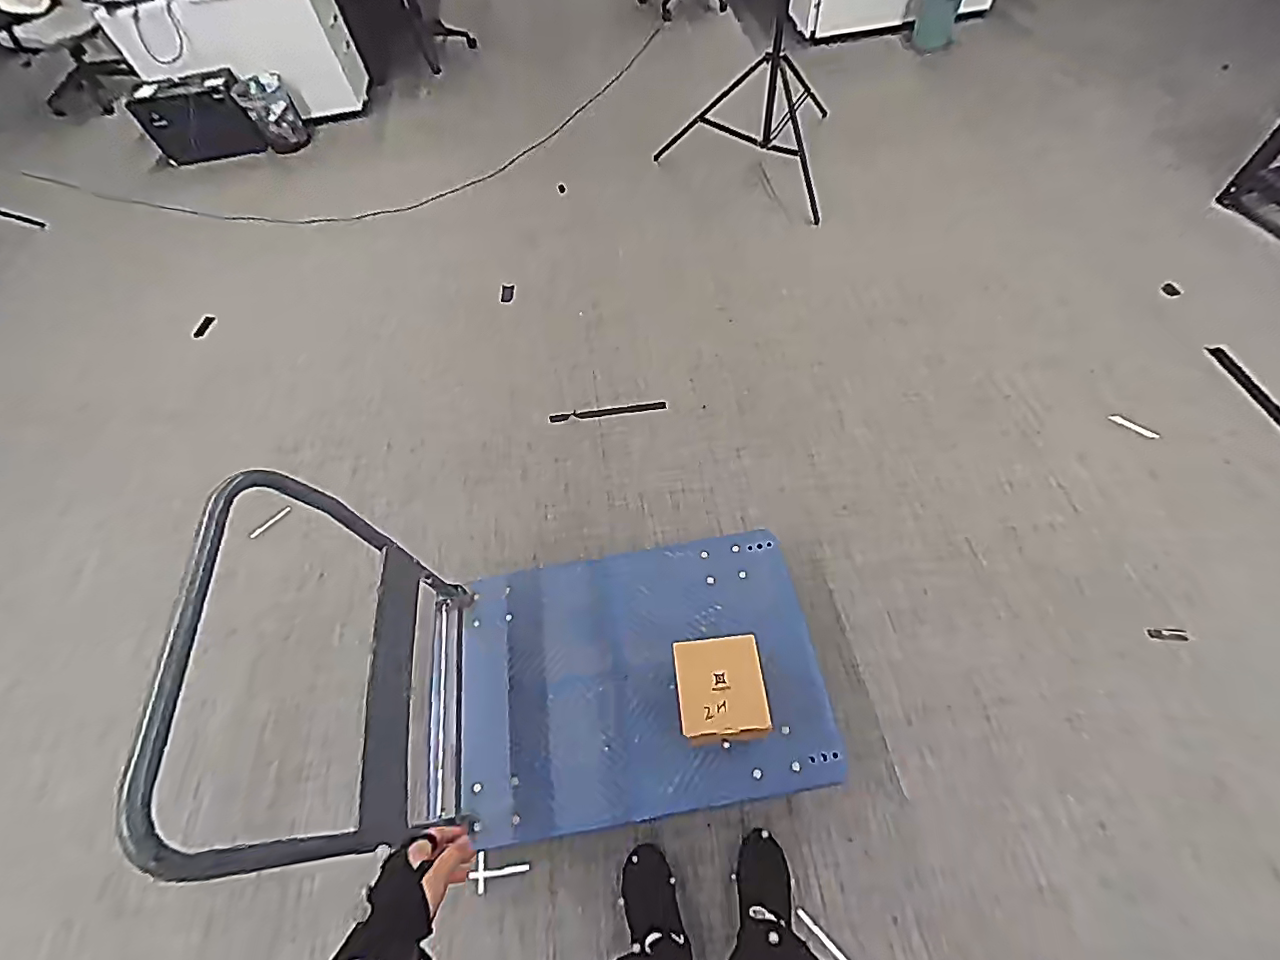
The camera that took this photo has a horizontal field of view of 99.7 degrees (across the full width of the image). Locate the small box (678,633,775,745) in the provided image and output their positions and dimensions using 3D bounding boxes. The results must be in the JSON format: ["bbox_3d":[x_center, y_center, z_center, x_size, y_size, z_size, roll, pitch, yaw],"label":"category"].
[{"bbox_3d":[0.168,0.429,1.104,0.168,0.176,0.179,-8,58,2],"label":"small box"}]
